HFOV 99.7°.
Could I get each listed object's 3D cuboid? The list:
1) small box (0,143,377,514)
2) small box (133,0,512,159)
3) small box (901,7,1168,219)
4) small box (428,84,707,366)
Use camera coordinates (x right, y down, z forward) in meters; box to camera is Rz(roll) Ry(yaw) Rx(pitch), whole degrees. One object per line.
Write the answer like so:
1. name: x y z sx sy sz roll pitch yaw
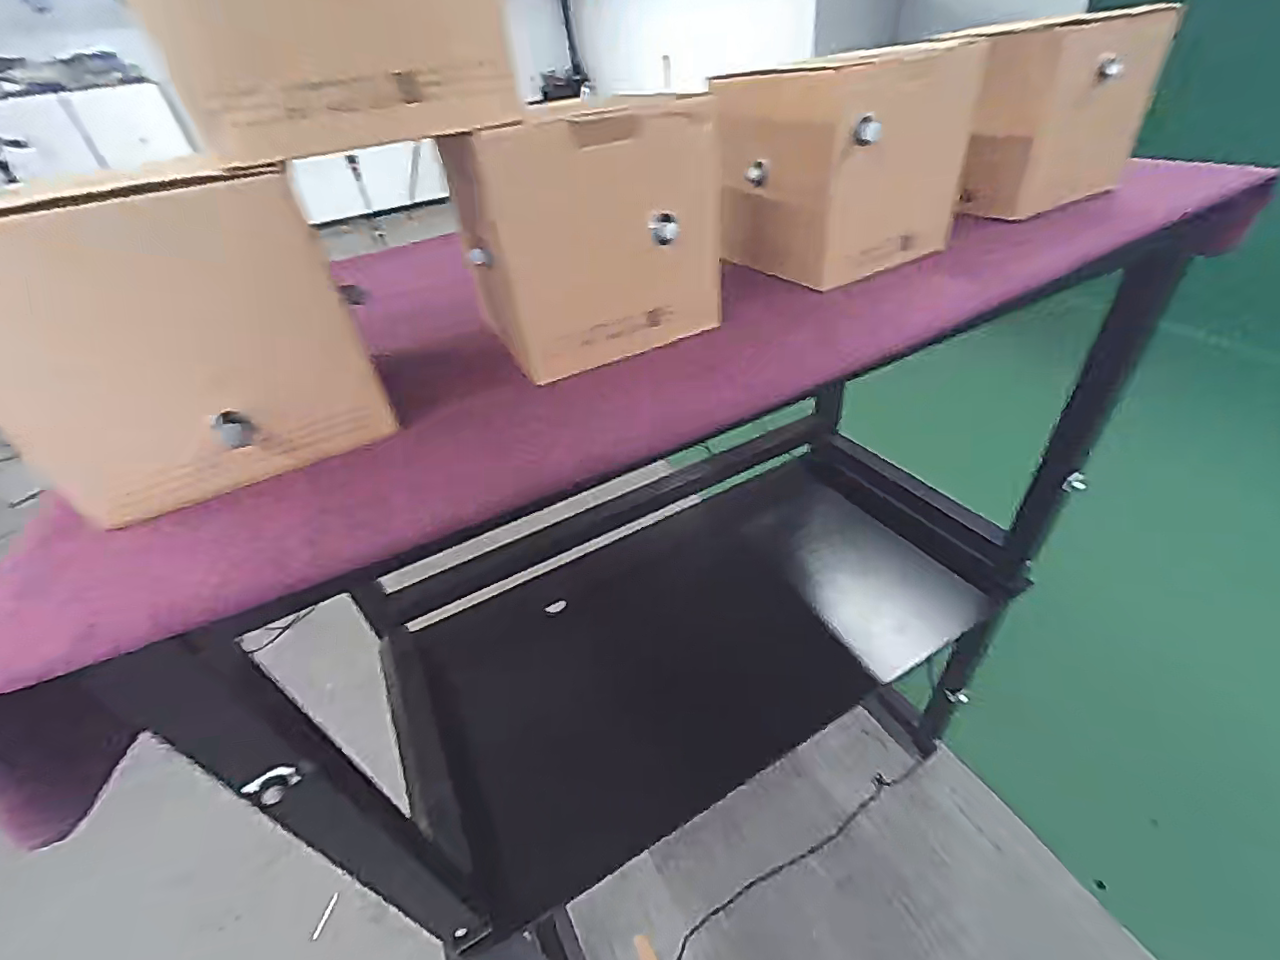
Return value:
1. small box: -0.292 -0.108 0.353 0.179 0.176 0.168 -23 40 -22
2. small box: -0.188 -0.291 0.306 0.168 0.176 0.179 -23 40 -19
3. small box: 0.428 -0.412 0.621 0.179 0.176 0.168 -22 40 -18
4. small box: -0.056 -0.209 0.445 0.168 0.176 0.179 -21 39 -17
